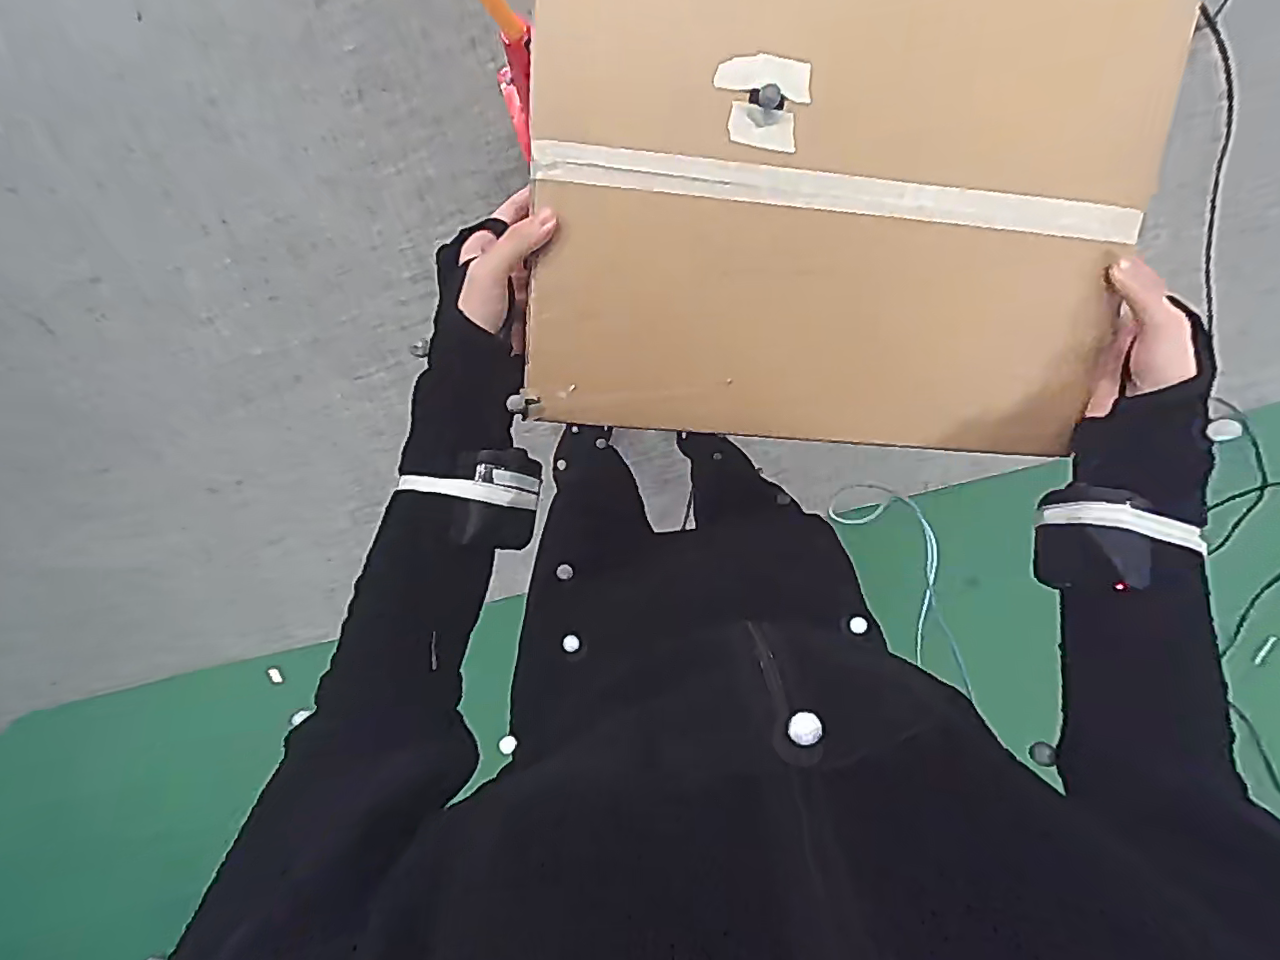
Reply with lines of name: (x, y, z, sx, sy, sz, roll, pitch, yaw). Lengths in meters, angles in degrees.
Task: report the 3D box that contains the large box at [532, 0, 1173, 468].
large box: (0.123, -0.206, 0.508, 0.408, 0.320, 0.320, 4, 104, -5)
